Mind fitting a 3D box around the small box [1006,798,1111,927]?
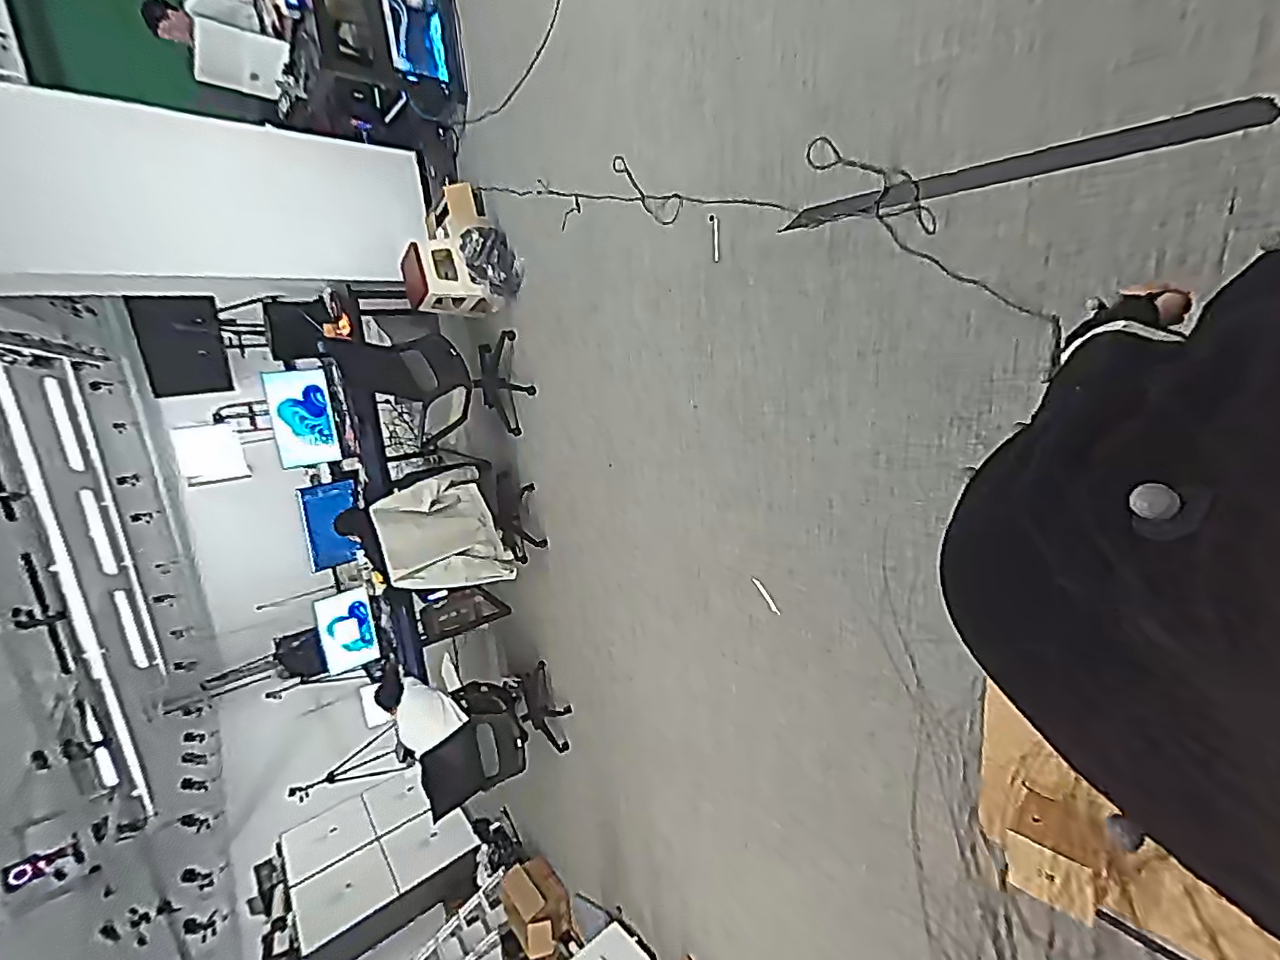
[{"bbox_3d":[1.053,0.946,1.362,0.179,0.176,0.168,4,106,51],"label":"small box"}]
